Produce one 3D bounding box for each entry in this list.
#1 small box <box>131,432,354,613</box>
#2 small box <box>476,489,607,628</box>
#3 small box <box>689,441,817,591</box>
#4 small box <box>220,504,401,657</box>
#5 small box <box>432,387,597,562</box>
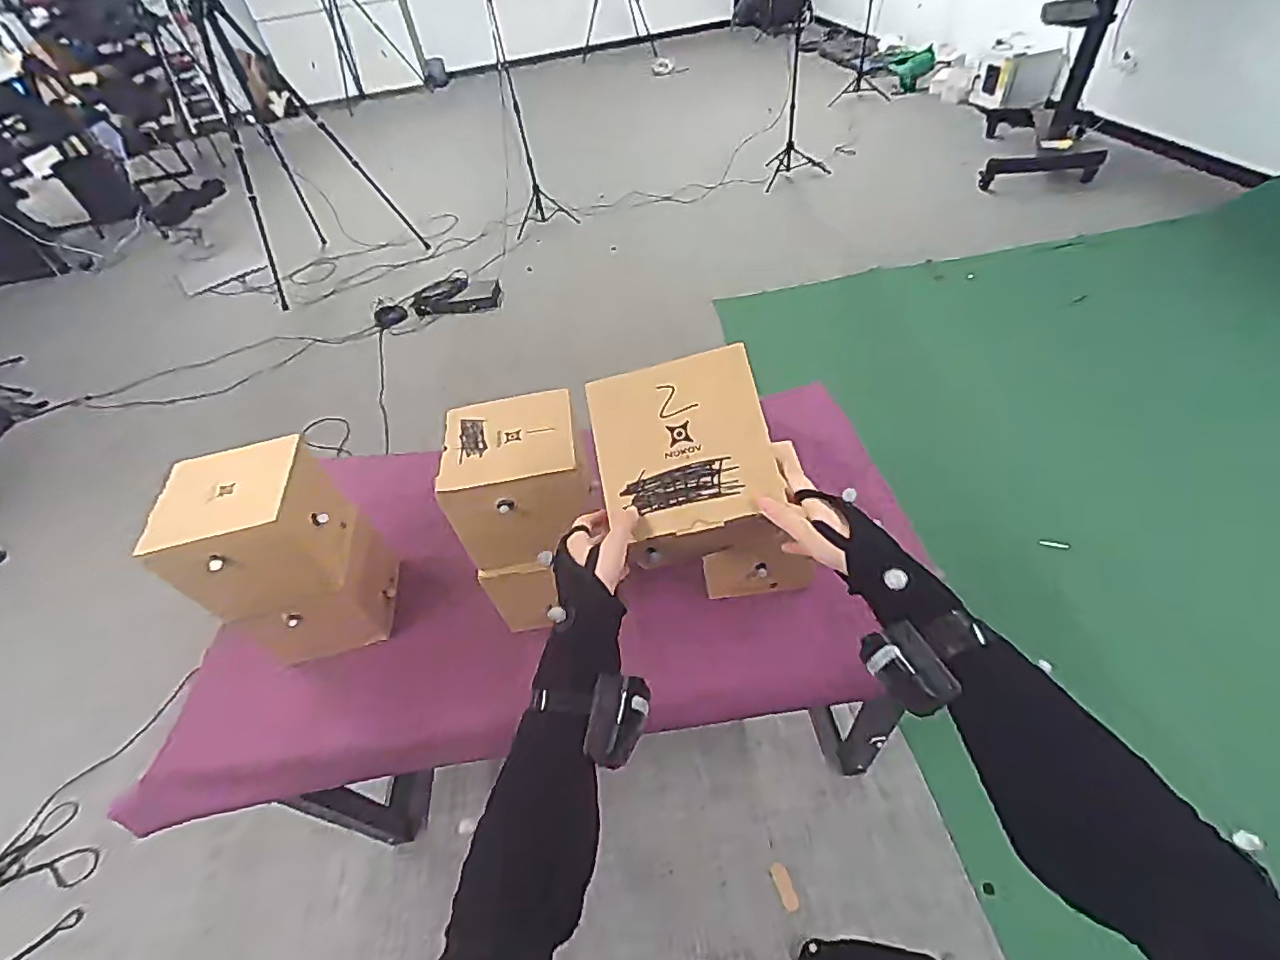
[{"bbox_3d":[-0.535,0.063,0.764,0.179,0.176,0.168,-15,49,-4],"label":"small box"},{"bbox_3d":[-0.148,0.114,0.874,0.168,0.176,0.179,-9,47,2],"label":"small box"},{"bbox_3d":[0.174,0.065,0.867,0.168,0.176,0.179,-7,47,3],"label":"small box"},{"bbox_3d":[-0.522,0.169,0.886,0.179,0.176,0.168,-13,48,-3],"label":"small box"},{"bbox_3d":[-0.165,-0.003,0.760,0.179,0.176,0.168,-10,47,-1],"label":"small box"}]
